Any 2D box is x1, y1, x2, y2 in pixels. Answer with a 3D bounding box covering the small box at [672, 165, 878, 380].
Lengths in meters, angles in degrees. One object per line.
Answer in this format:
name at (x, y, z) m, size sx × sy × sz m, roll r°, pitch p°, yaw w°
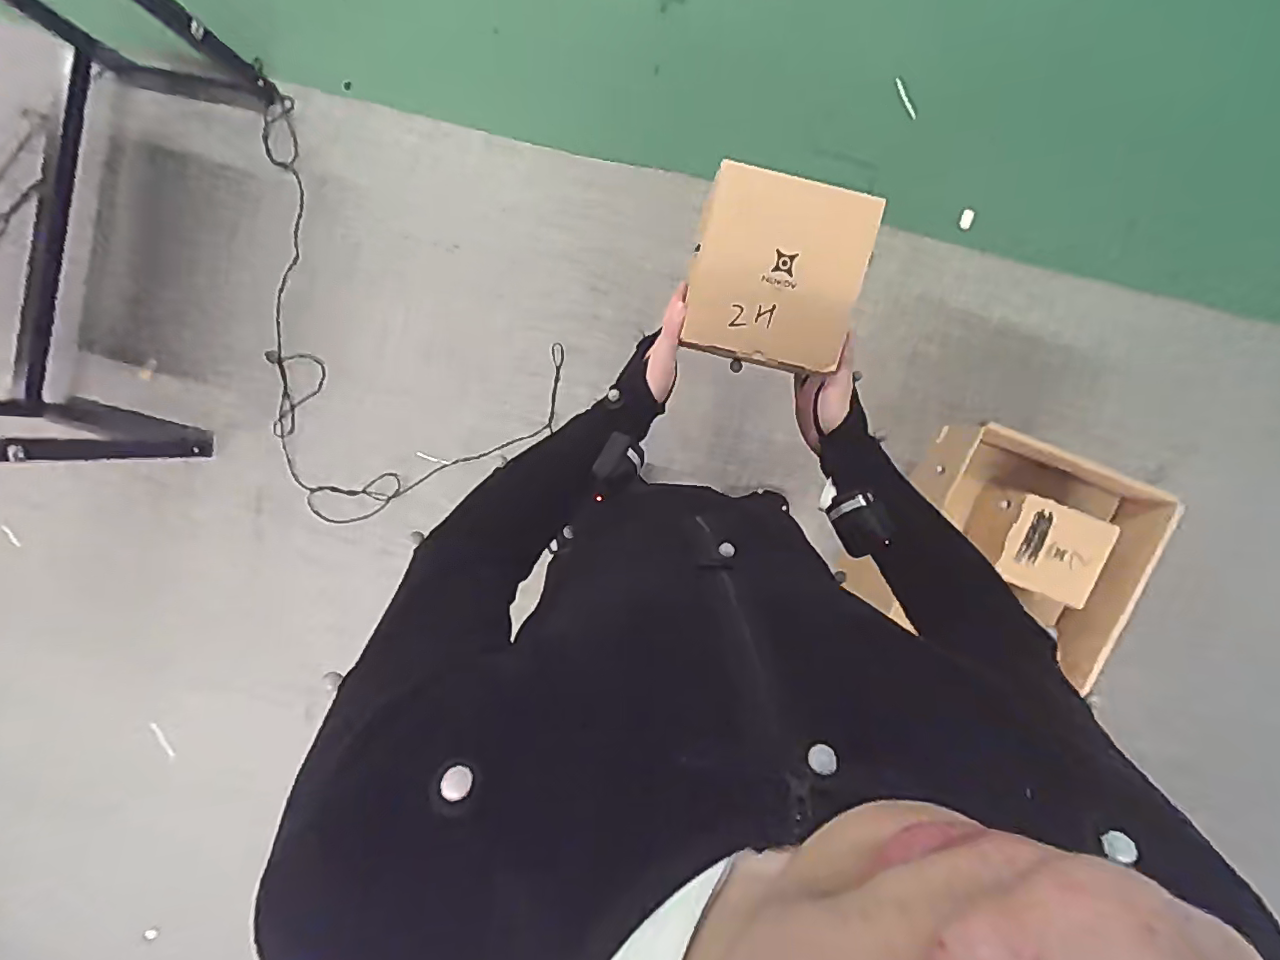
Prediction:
small box at (0.136, -0.222, 0.620) m, size 0.168 × 0.176 × 0.179 m, roll 13°, pitch 103°, yaw -3°
